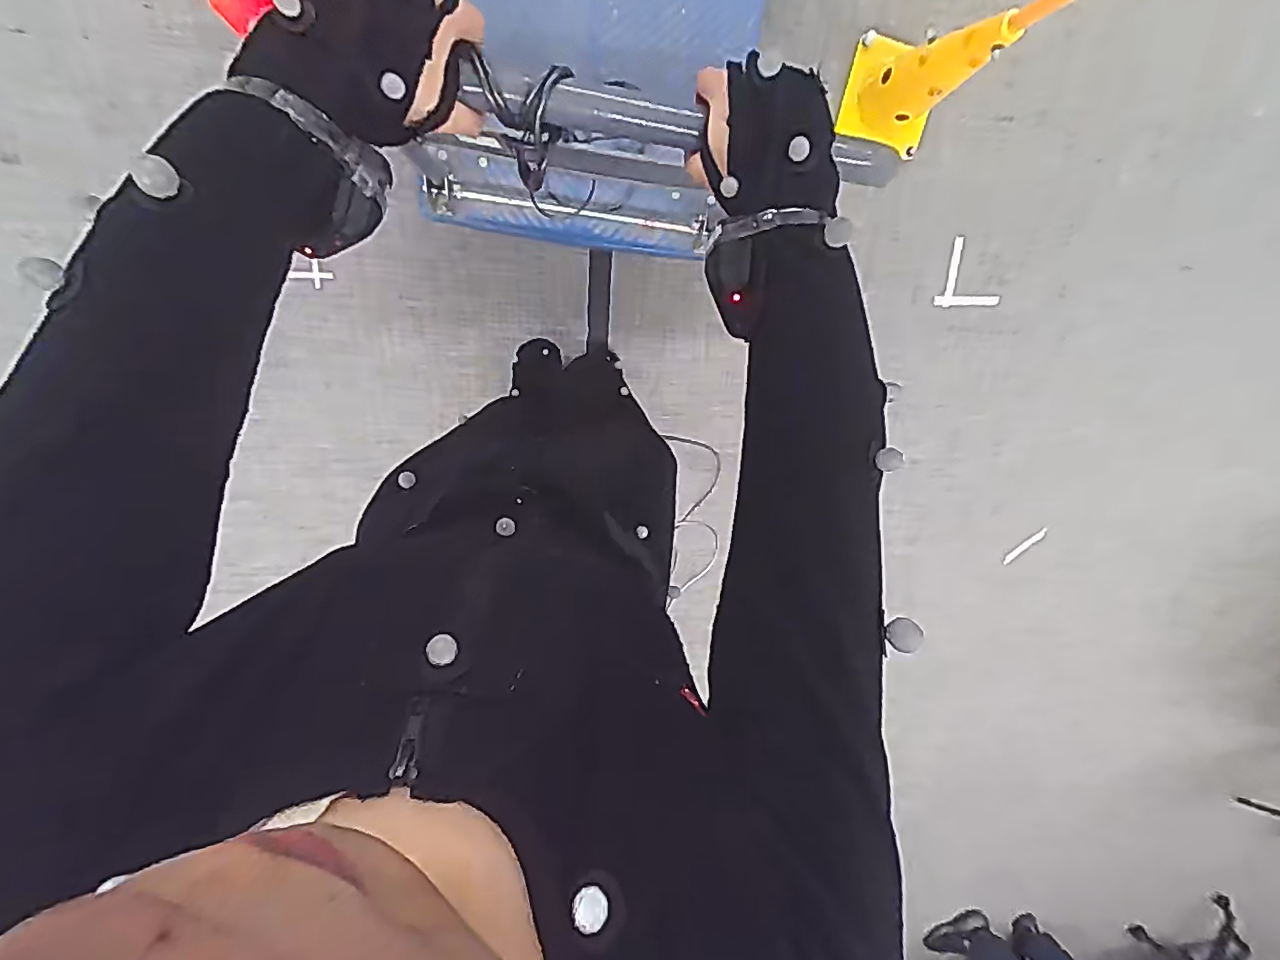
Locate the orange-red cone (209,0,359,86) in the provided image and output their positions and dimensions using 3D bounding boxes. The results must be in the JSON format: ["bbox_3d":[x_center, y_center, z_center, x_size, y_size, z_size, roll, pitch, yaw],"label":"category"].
[{"bbox_3d":[-0.613,-0.798,0.810,0.199,0.360,0.198,-42,111,7],"label":"orange-red cone"}]
